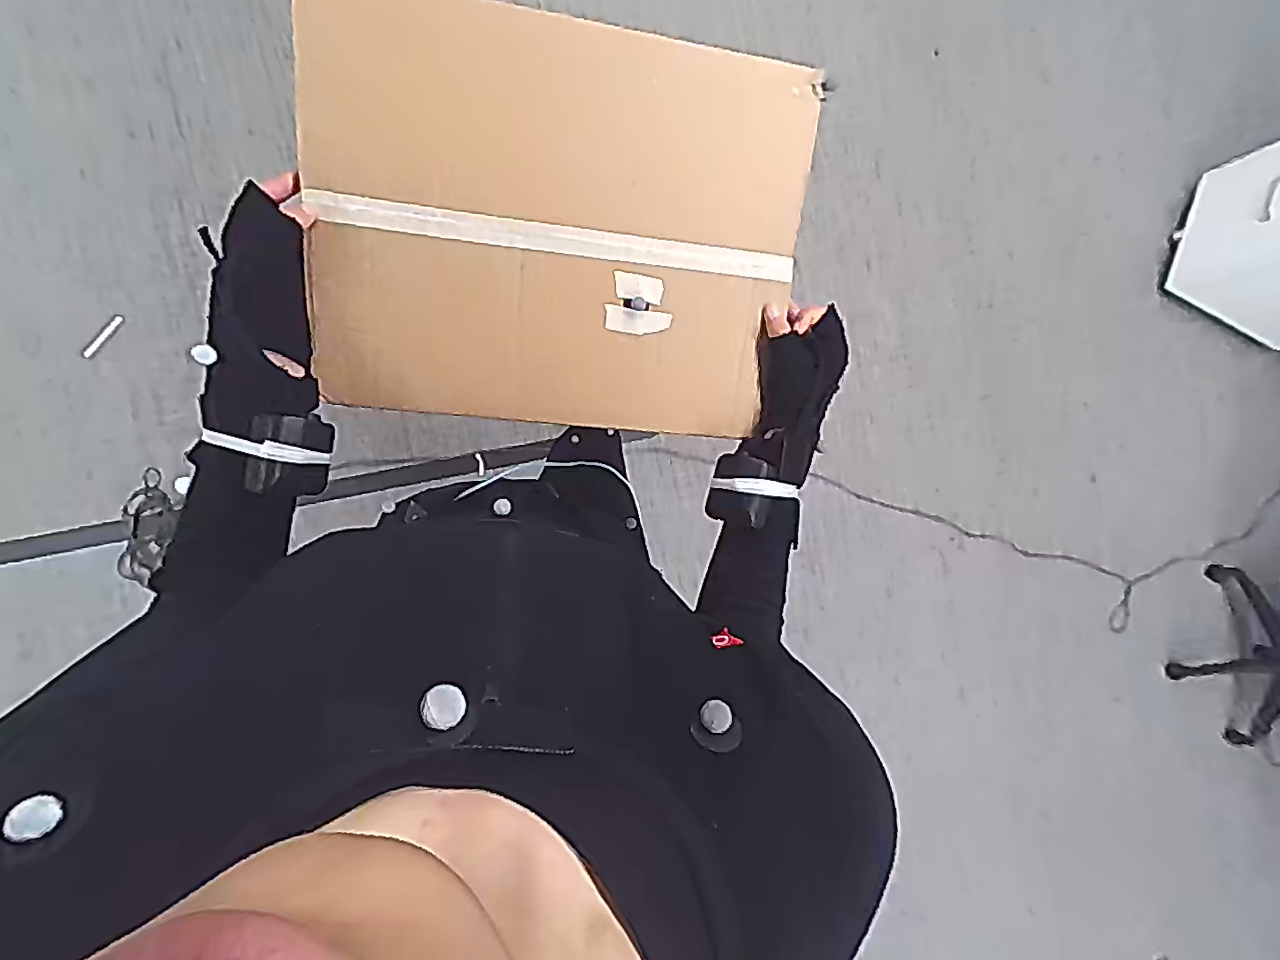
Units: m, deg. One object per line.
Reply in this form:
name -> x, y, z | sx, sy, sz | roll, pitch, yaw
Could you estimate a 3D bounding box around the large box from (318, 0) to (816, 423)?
large box -> -0.081, -0.253, 0.609 | 0.408, 0.320, 0.320 | 4, 106, -10
